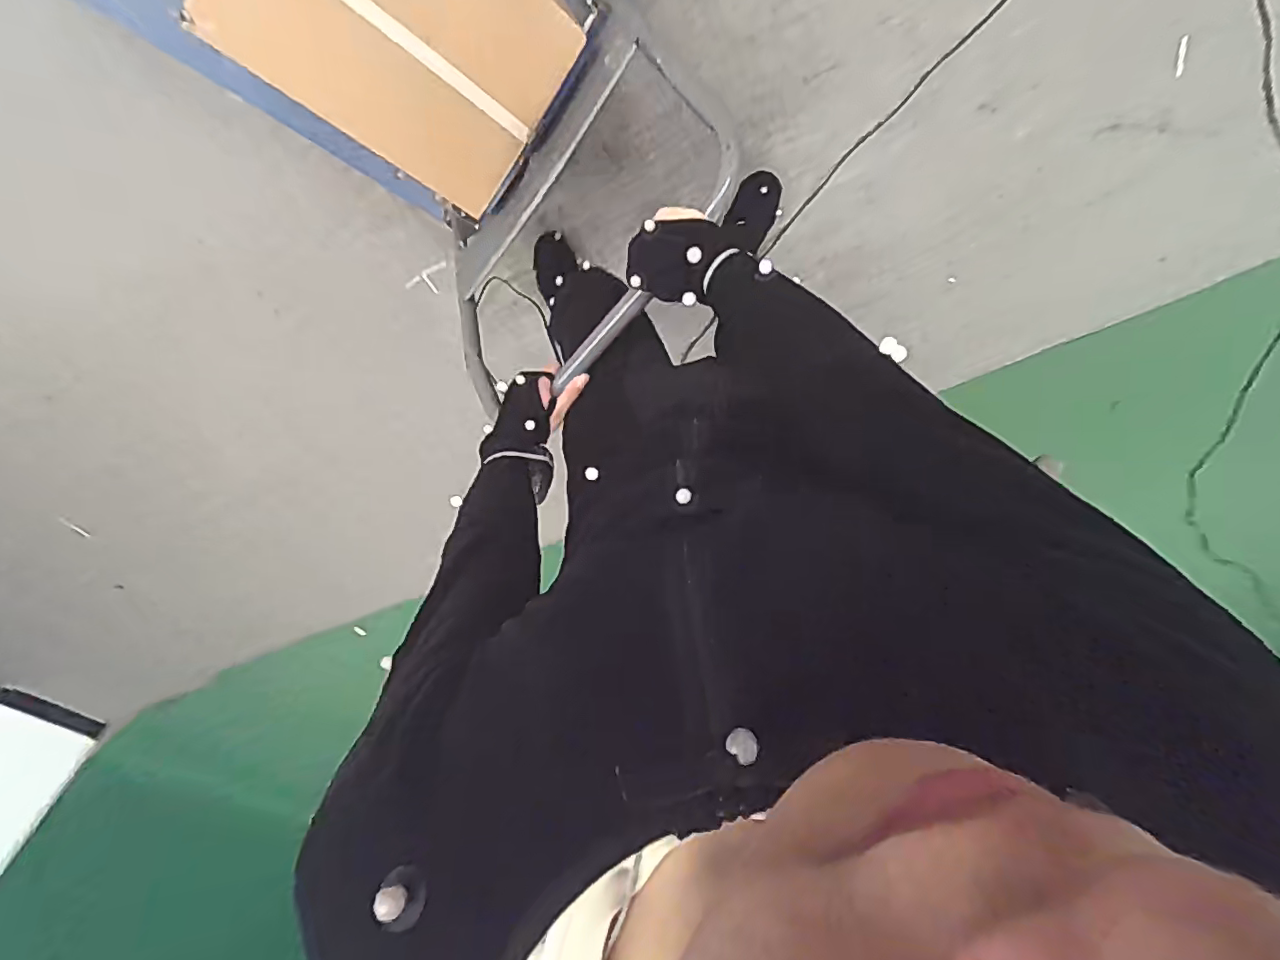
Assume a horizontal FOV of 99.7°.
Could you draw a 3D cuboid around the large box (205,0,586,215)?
[{"bbox_3d":[-0.344,-0.710,0.828,0.408,0.320,0.320,23,128,-36],"label":"large box"}]
